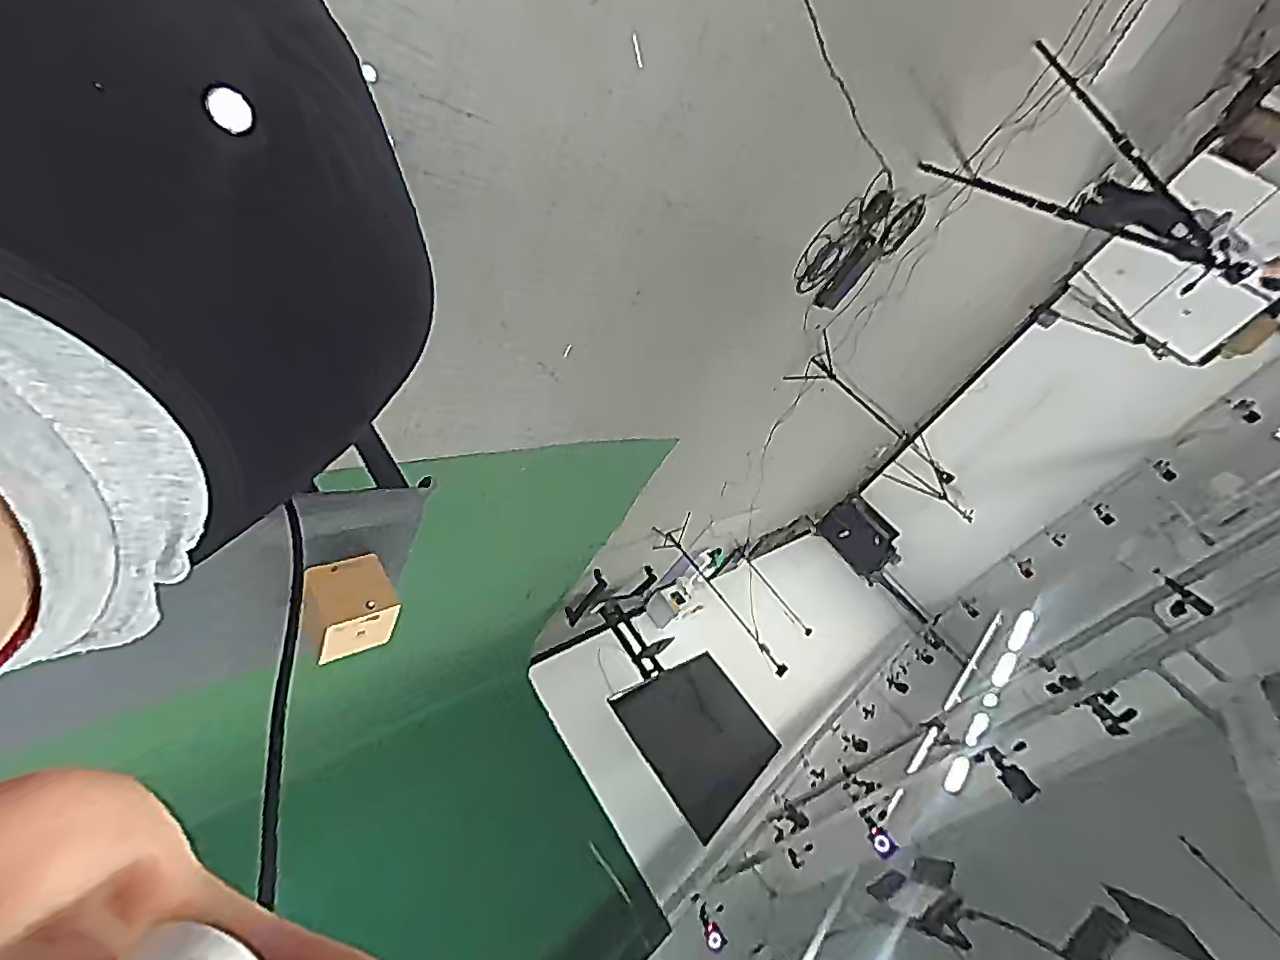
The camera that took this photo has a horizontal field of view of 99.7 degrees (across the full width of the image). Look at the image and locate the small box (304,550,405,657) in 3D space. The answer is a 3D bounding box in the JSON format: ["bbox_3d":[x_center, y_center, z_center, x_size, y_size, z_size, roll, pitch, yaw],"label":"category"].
[{"bbox_3d":[-0.714,0.301,1.343,0.168,0.176,0.179,-14,148,-46],"label":"small box"}]
